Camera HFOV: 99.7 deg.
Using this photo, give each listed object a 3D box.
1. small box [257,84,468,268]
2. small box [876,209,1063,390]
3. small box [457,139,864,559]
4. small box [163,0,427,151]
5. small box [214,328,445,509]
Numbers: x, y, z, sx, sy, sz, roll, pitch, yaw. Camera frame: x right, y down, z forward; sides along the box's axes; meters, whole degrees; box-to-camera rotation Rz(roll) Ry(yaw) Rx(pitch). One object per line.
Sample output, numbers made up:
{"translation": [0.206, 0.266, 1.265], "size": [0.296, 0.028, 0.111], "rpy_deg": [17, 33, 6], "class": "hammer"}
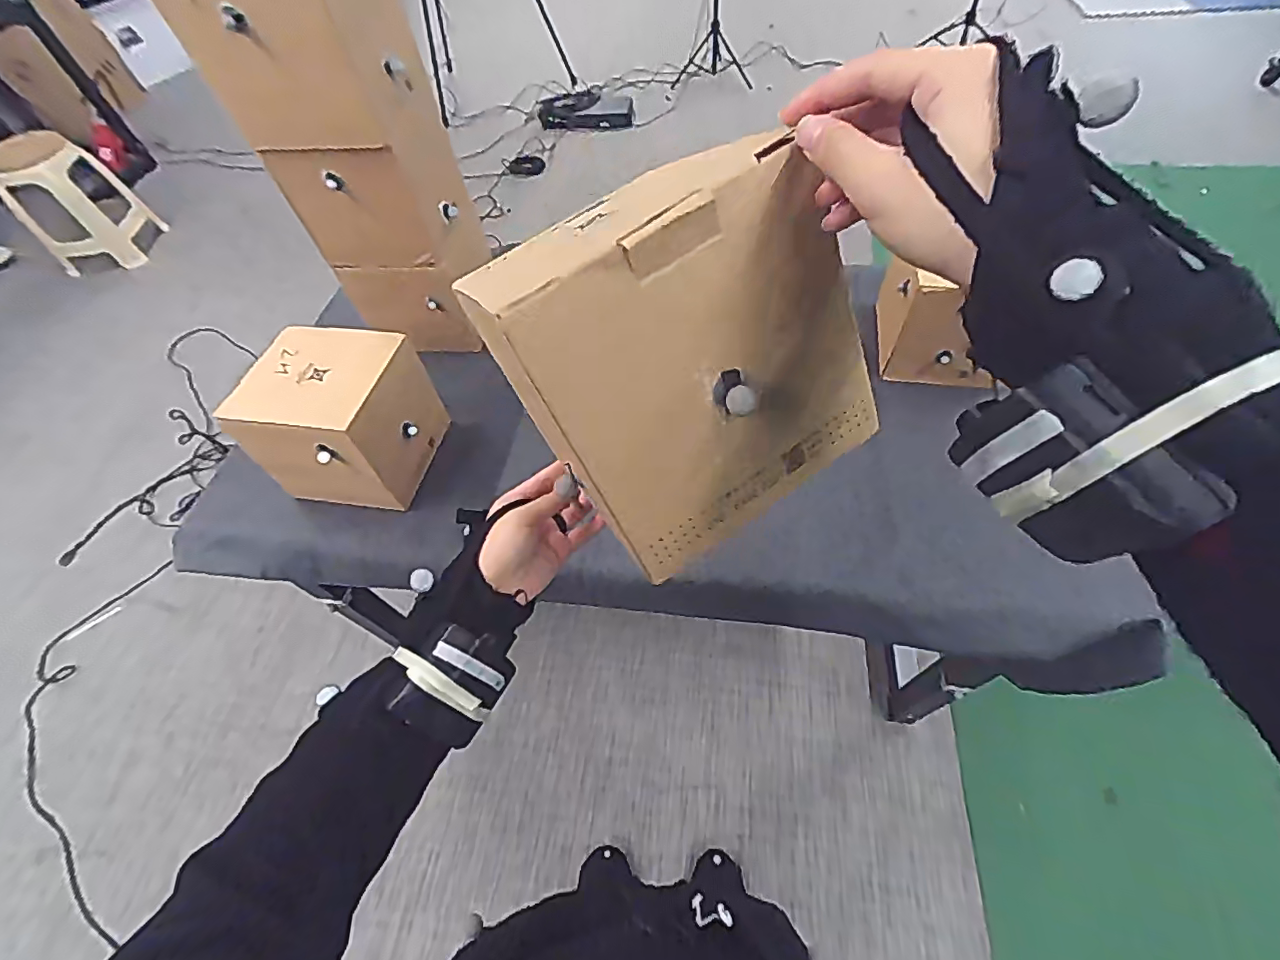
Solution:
{"translation": [-0.363, -0.413, 0.746], "size": [0.179, 0.176, 0.168], "rpy_deg": [2, 59, 4], "class": "small box"}
{"translation": [0.443, -0.253, 0.763], "size": [0.168, 0.176, 0.179], "rpy_deg": [6, 59, 10], "class": "small box"}
{"translation": [0.011, -0.076, 0.340], "size": [0.168, 0.176, 0.179], "rpy_deg": [-32, 31, -8], "class": "small box"}
{"translation": [-0.371, -0.493, 0.603], "size": [0.179, 0.176, 0.168], "rpy_deg": [3, 59, 6], "class": "small box"}
{"translation": [-0.388, -0.077, 0.718], "size": [0.179, 0.176, 0.168], "rpy_deg": [6, 55, 9], "class": "small box"}
